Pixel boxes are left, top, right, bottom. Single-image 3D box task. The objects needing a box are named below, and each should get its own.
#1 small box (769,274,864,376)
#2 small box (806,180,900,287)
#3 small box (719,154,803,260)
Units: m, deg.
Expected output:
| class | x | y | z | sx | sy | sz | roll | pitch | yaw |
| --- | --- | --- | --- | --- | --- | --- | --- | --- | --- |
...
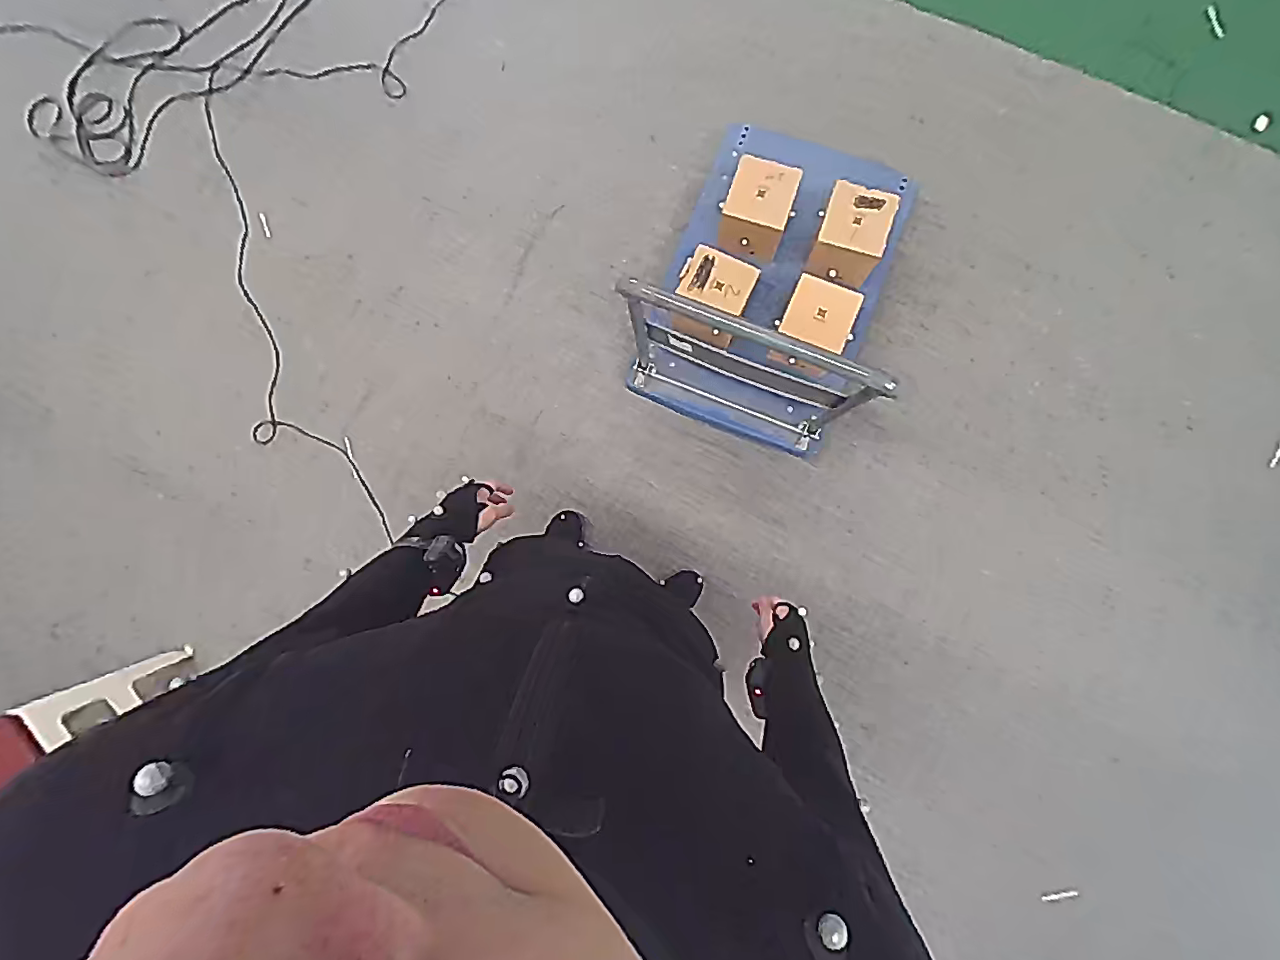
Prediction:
| class | x | y | z | sx | sy | sz | roll | pitch | yaw |
| --- | --- | --- | --- | --- | --- | --- | --- | --- | --- |
| small box | 0.455 | -0.401 | 1.425 | 0.168 | 0.176 | 0.179 | 23 | 86 | 5 |
| small box | 0.558 | -0.650 | 1.443 | 0.168 | 0.176 | 0.179 | 19 | 87 | 6 |
| small box | 0.319 | -0.730 | 1.466 | 0.168 | 0.176 | 0.179 | 19 | 85 | 4 |
